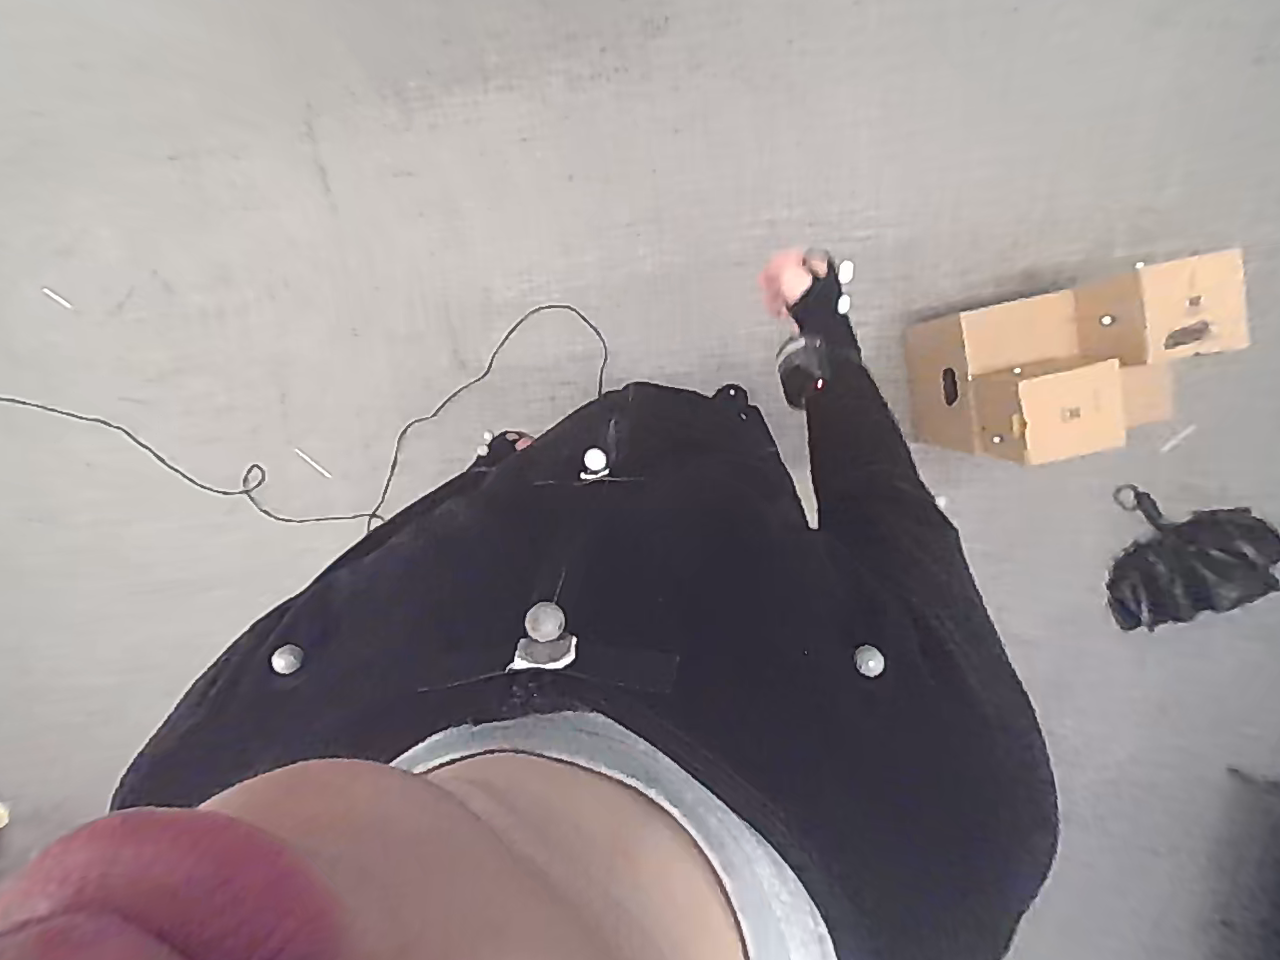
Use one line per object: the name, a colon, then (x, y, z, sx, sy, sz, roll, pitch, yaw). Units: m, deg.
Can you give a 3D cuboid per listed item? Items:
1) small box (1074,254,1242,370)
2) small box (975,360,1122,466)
small box: (0.978, -0.307, 1.034, 0.168, 0.176, 0.179, -9, 96, 6)
small box: (0.799, -0.137, 1.079, 0.179, 0.176, 0.168, -14, 102, 6)
